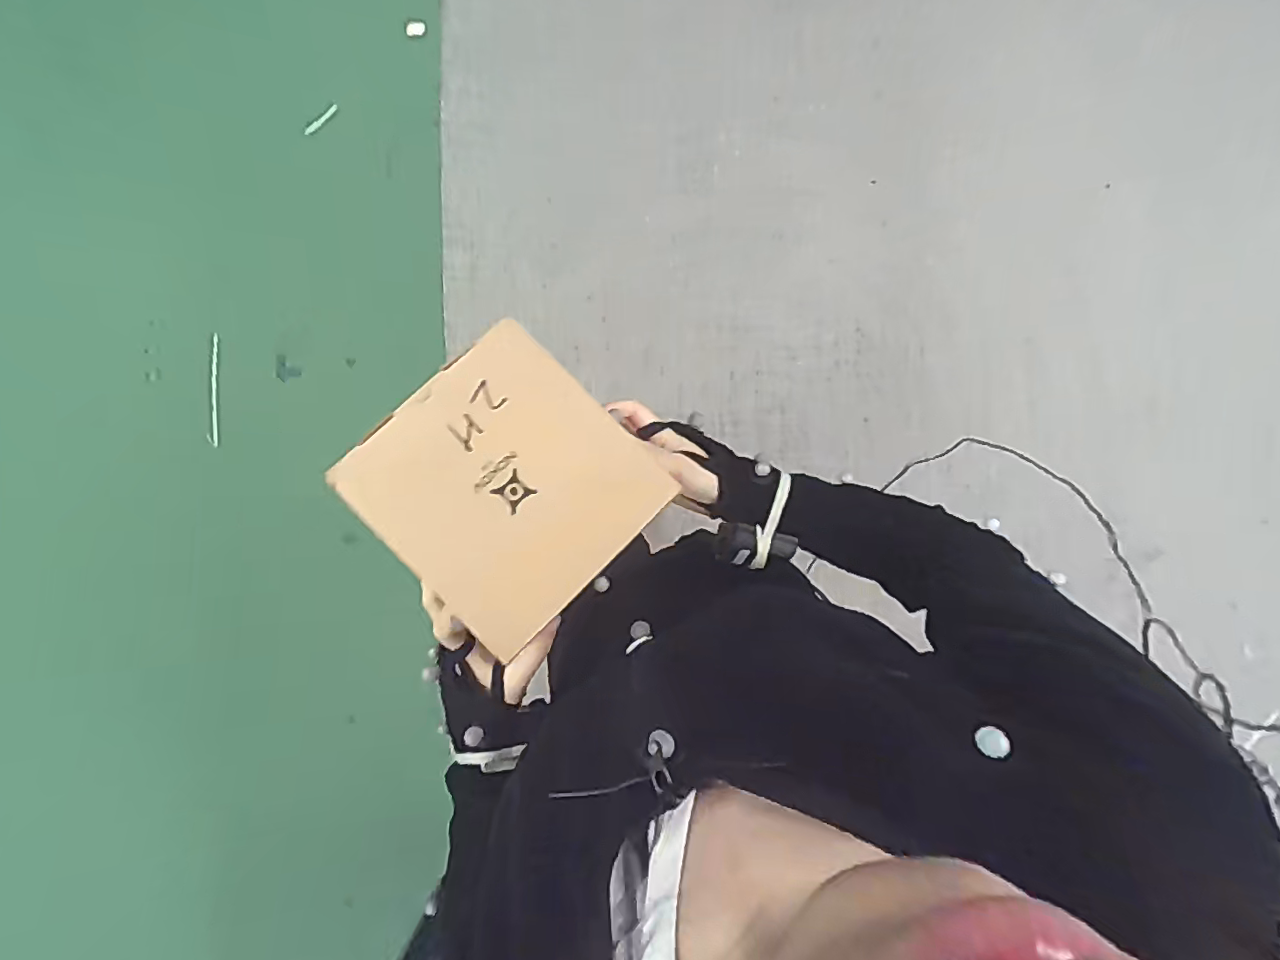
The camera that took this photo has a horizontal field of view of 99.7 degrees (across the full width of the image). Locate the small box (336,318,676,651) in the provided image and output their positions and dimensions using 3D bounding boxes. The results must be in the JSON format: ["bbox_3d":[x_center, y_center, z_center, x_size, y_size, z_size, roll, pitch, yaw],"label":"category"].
[{"bbox_3d":[-0.095,0.008,0.449,0.168,0.176,0.179,-42,87,-9],"label":"small box"}]
